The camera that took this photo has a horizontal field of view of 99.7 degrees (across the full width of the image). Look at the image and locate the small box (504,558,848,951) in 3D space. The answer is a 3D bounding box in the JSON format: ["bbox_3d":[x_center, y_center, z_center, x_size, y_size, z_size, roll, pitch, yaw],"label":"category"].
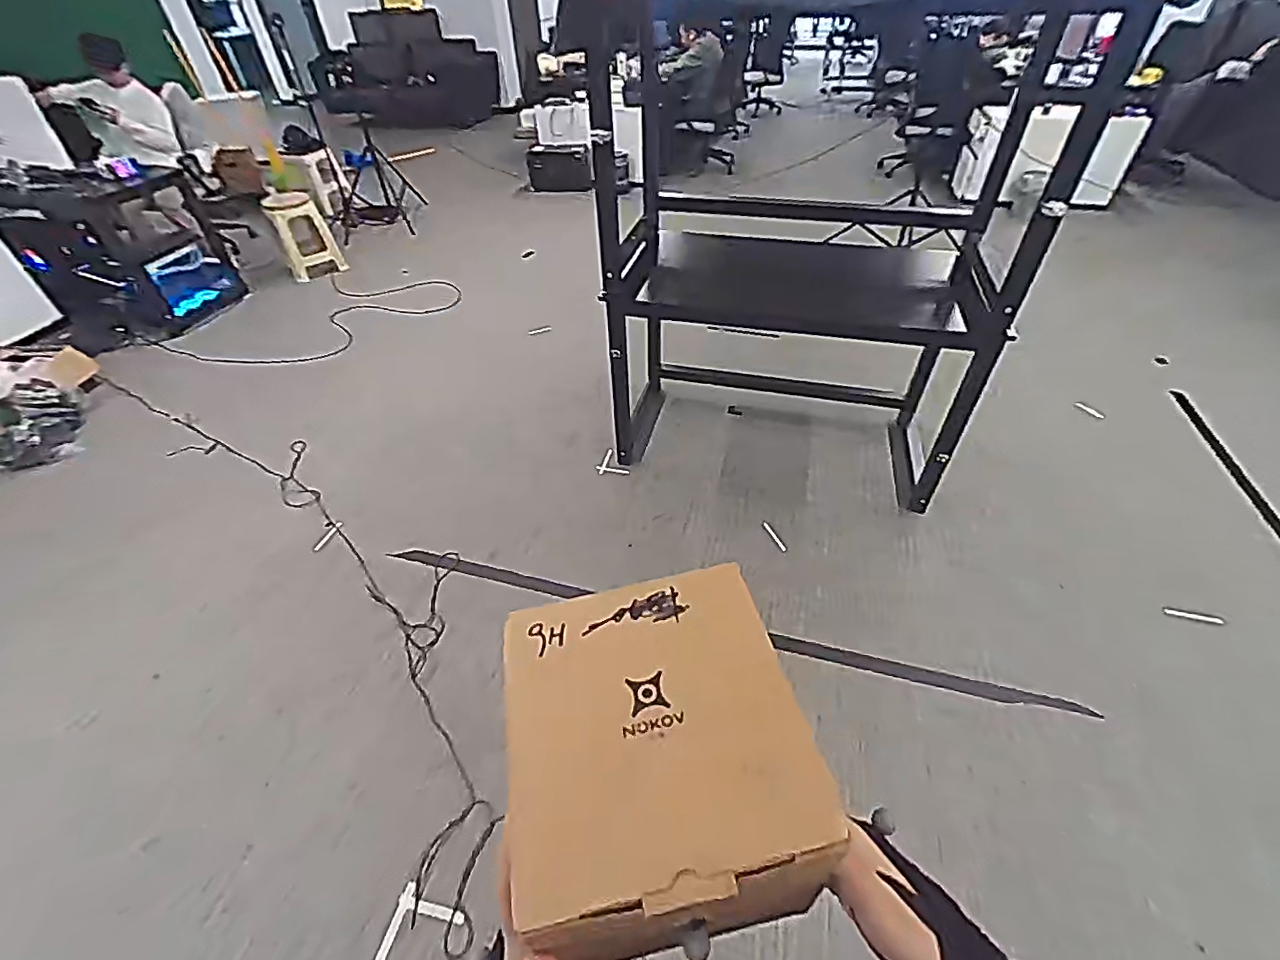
[{"bbox_3d":[0.012,0.184,0.361,0.168,0.176,0.179,-11,44,-5],"label":"small box"}]
